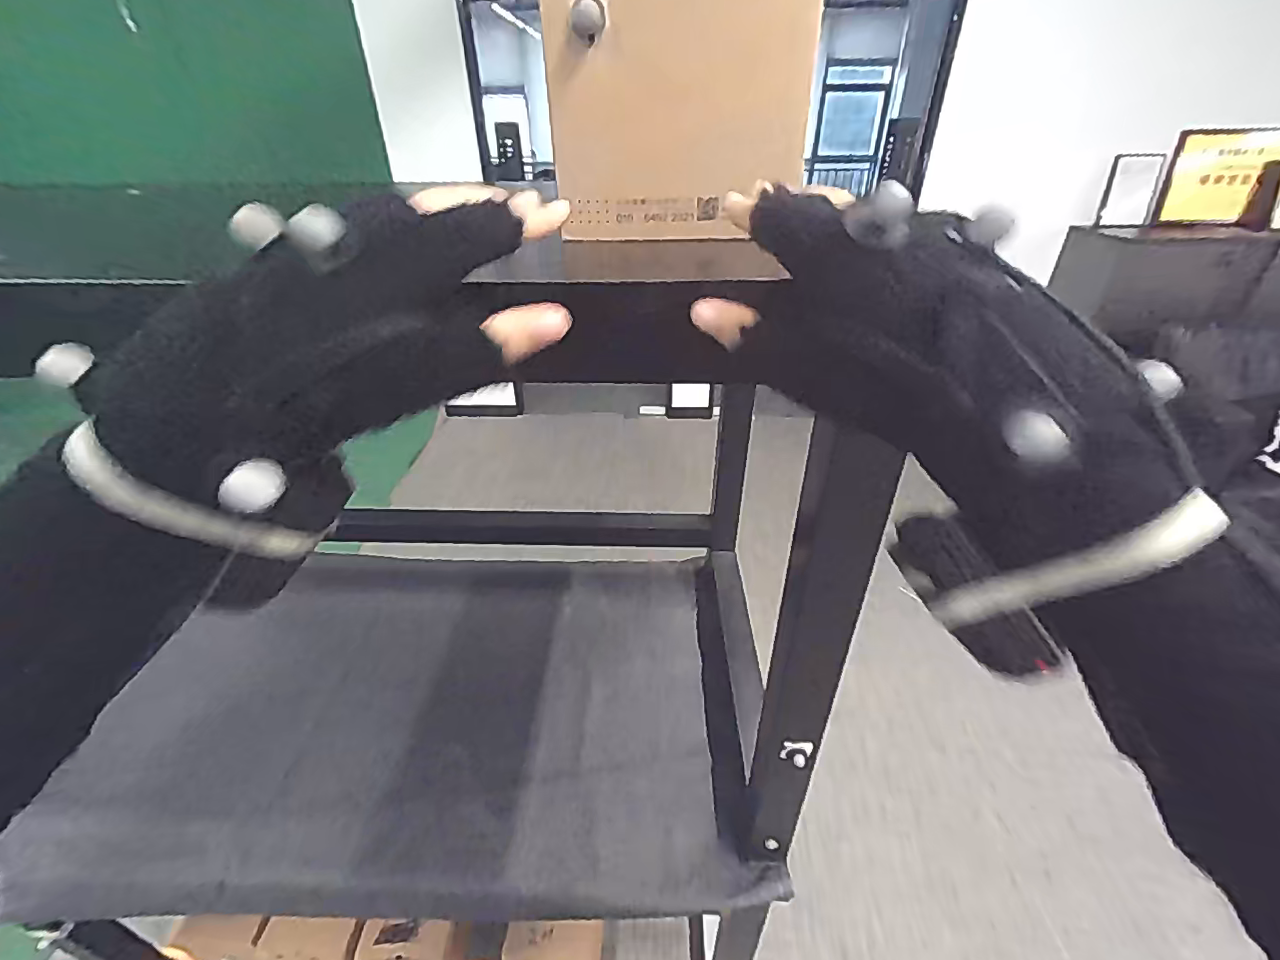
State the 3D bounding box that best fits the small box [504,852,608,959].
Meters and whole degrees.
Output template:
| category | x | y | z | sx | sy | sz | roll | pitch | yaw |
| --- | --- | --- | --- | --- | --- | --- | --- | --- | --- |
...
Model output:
| category | x | y | z | sx | sy | sz | roll | pitch | yaw |
| --- | --- | --- | --- | --- | --- | --- | --- | --- | --- |
| small box | -0.160 | 0.900 | 1.100 | 0.168 | 0.176 | 0.179 | 3 | 35 | 6 |
